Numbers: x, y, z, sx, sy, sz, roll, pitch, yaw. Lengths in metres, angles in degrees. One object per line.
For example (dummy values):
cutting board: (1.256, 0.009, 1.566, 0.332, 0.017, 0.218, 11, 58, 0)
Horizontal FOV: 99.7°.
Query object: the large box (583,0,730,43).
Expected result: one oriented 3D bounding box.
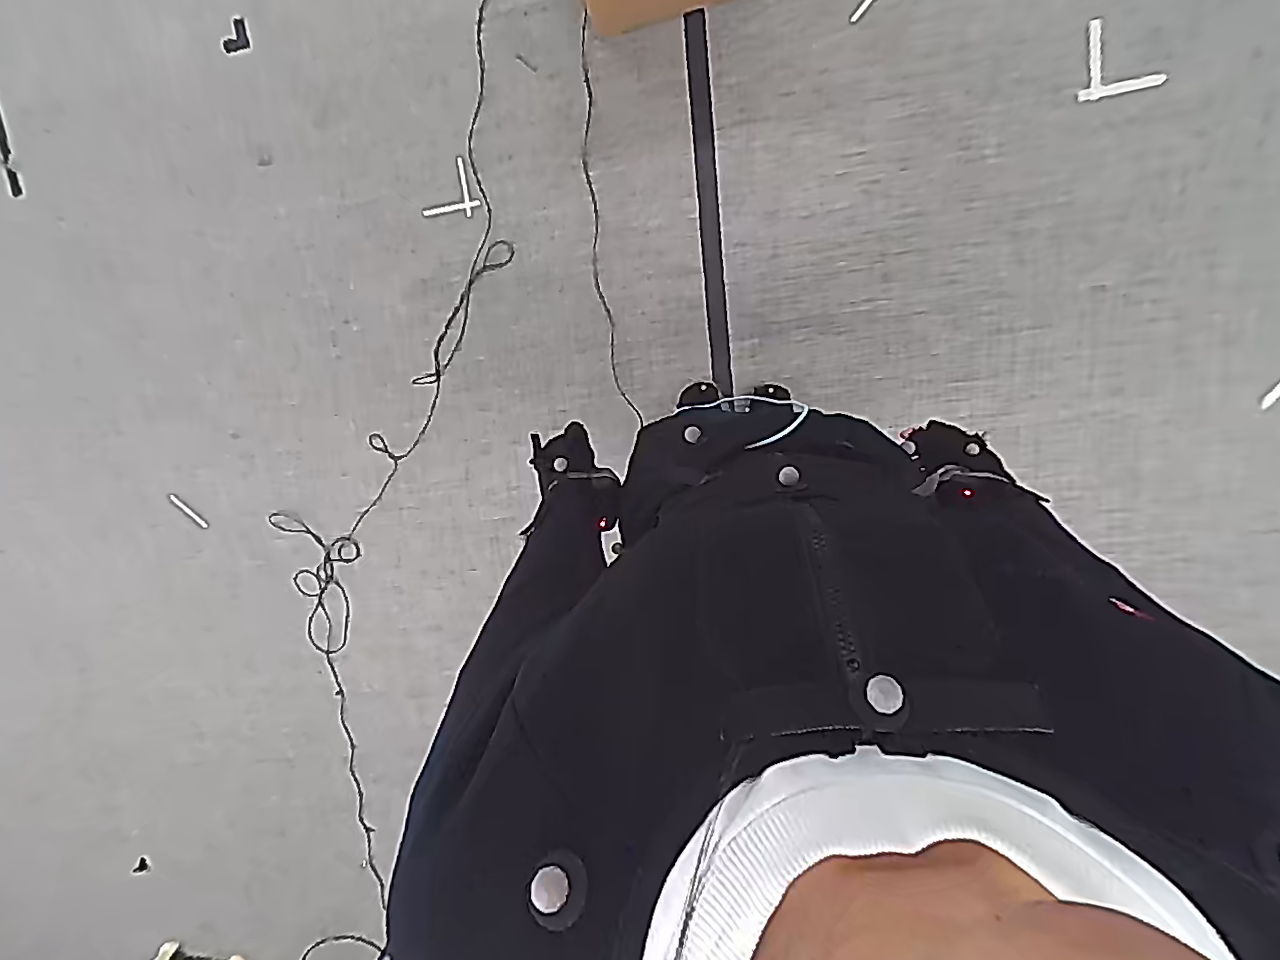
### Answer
large box: (0.038, -1.183, 1.081, 0.408, 0.320, 0.320, -12, 101, 7)
